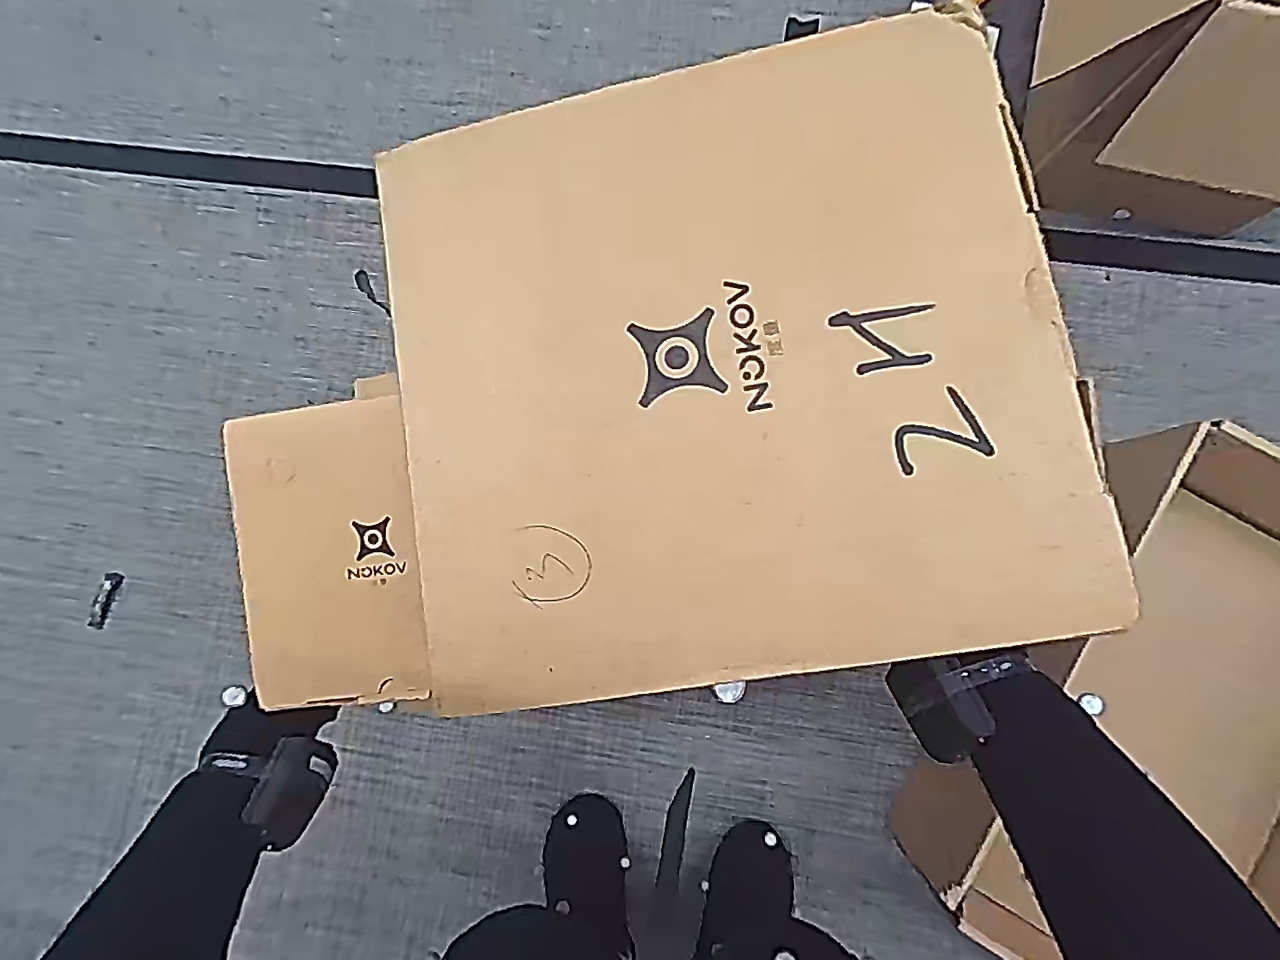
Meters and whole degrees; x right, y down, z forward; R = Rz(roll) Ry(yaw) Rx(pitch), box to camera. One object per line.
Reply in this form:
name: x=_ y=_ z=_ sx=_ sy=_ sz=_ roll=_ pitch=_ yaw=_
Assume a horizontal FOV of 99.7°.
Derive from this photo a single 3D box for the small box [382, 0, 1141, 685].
small box: x=0.028 y=-0.029 z=0.221 sx=0.179 sy=0.176 sz=0.168 roll=-10 pitch=83 yaw=6
